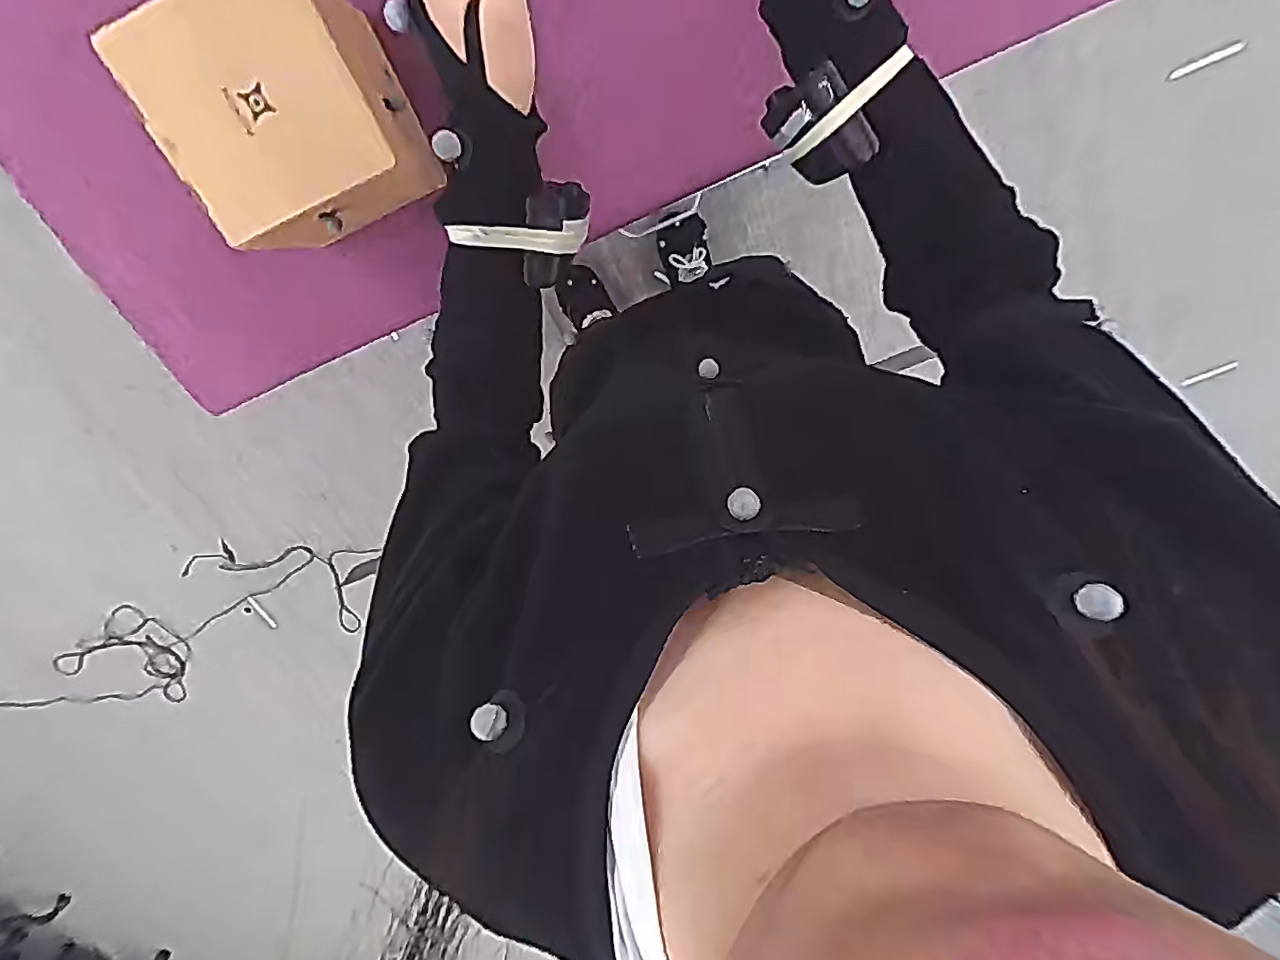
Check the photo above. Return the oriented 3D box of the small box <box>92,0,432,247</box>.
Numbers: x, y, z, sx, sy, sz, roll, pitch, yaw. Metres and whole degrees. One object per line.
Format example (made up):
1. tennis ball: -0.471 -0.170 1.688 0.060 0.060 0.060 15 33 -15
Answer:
1. small box: -0.323 -0.342 0.516 0.179 0.176 0.168 -22 114 8
